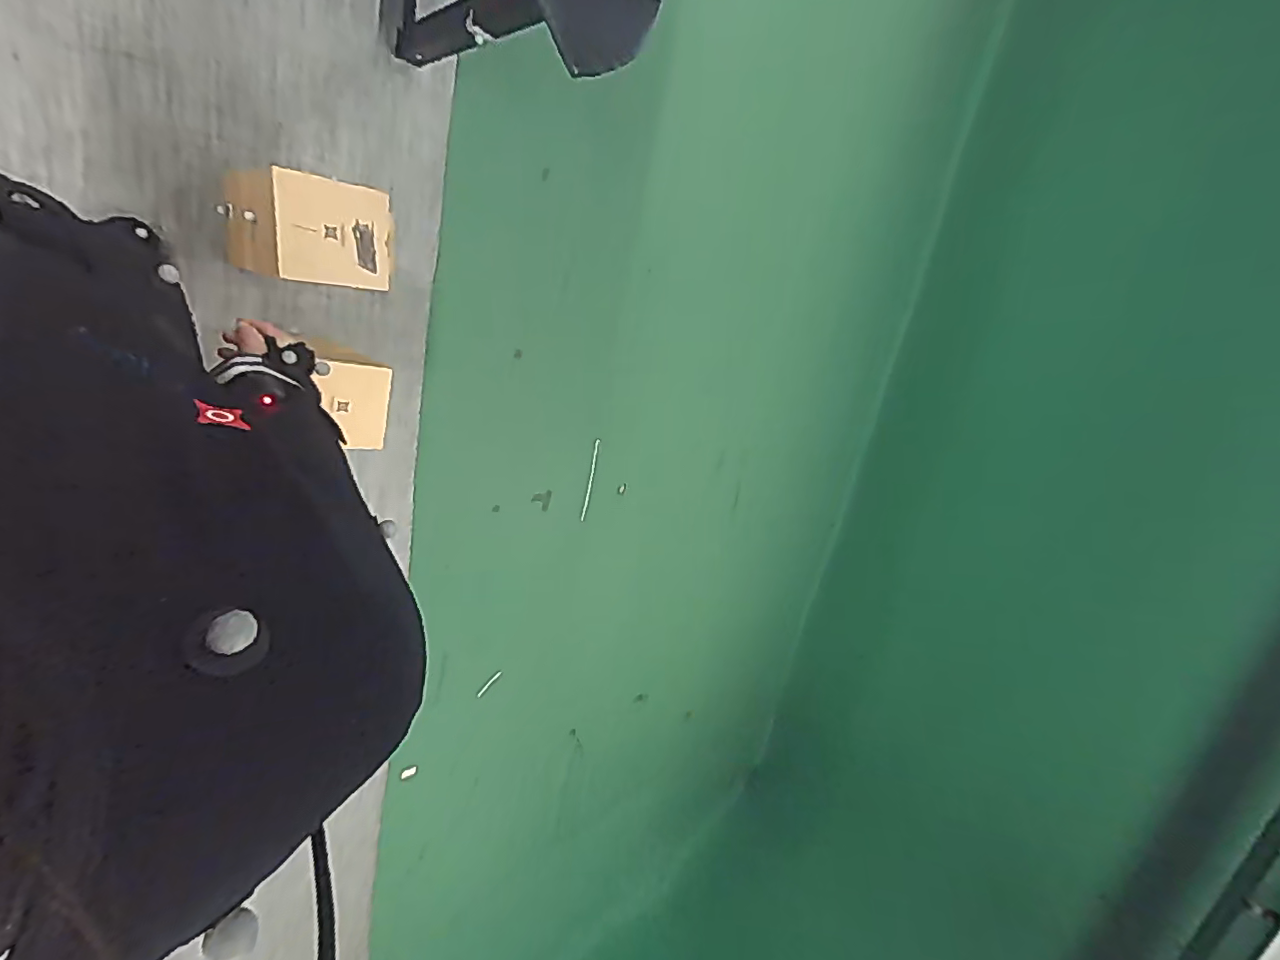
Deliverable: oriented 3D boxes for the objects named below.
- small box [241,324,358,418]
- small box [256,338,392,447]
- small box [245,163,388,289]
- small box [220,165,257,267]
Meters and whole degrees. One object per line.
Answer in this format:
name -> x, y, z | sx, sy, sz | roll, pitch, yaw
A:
small box -> -0.724, -0.225, 1.143 | 0.179, 0.176, 0.168 | -3, 113, -46
small box -> -0.609, -0.168, 1.042 | 0.179, 0.176, 0.168 | -2, 112, -48
small box -> -0.564, -0.440, 0.947 | 0.179, 0.176, 0.168 | -10, 116, -44
small box -> -0.684, -0.493, 1.046 | 0.179, 0.176, 0.168 | -8, 115, -45
